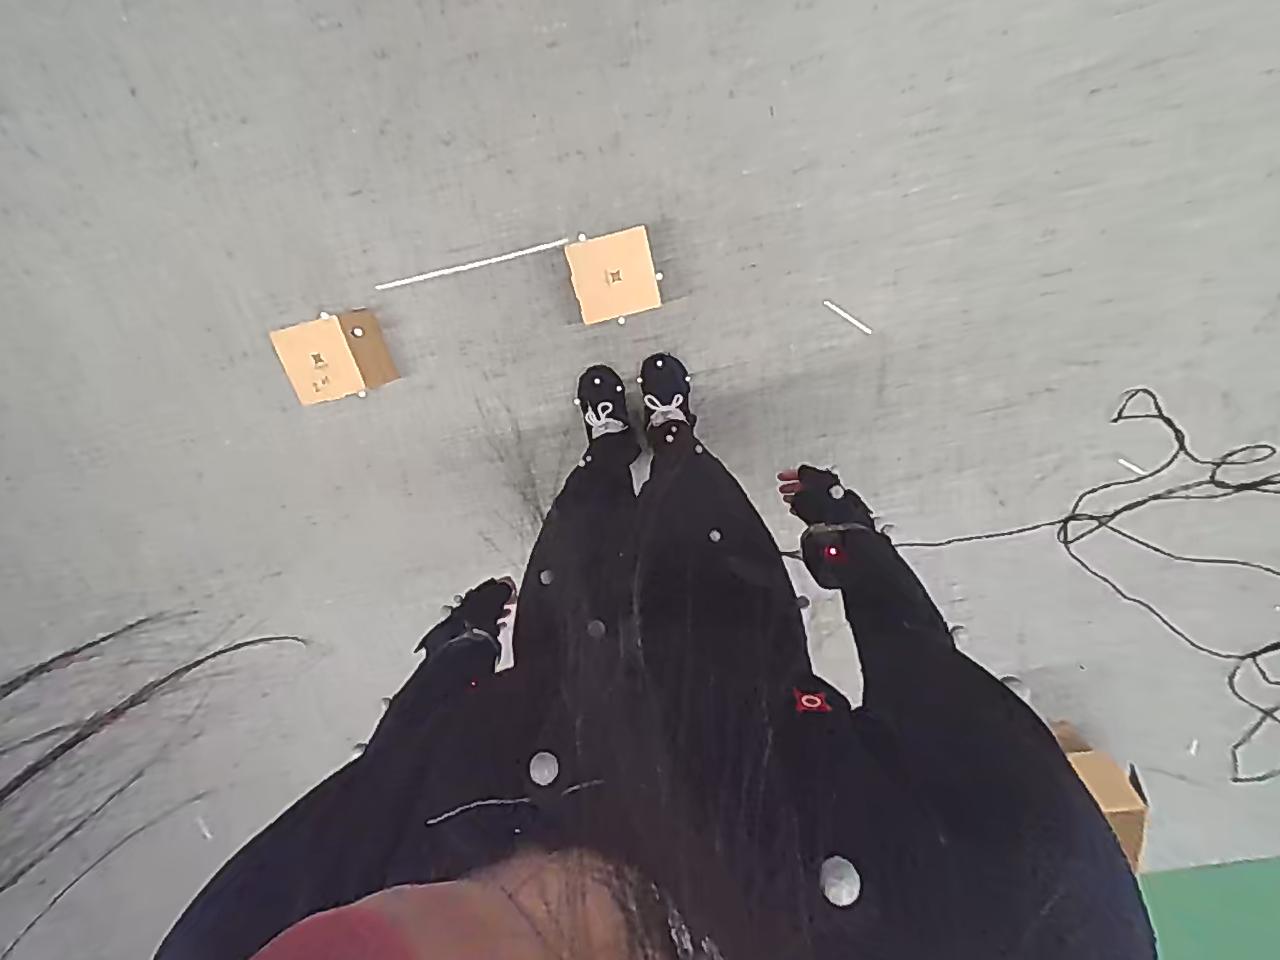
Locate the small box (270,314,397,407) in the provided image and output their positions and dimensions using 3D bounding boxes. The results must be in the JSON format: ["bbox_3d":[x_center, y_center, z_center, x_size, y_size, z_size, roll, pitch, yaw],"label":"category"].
[{"bbox_3d":[-0.715,-0.289,1.282,0.168,0.176,0.179,-12,110,6],"label":"small box"}]

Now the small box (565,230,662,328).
[{"bbox_3d":[-0.053,-0.449,1.204,0.179,0.176,0.168,-12,111,7],"label":"small box"}]
